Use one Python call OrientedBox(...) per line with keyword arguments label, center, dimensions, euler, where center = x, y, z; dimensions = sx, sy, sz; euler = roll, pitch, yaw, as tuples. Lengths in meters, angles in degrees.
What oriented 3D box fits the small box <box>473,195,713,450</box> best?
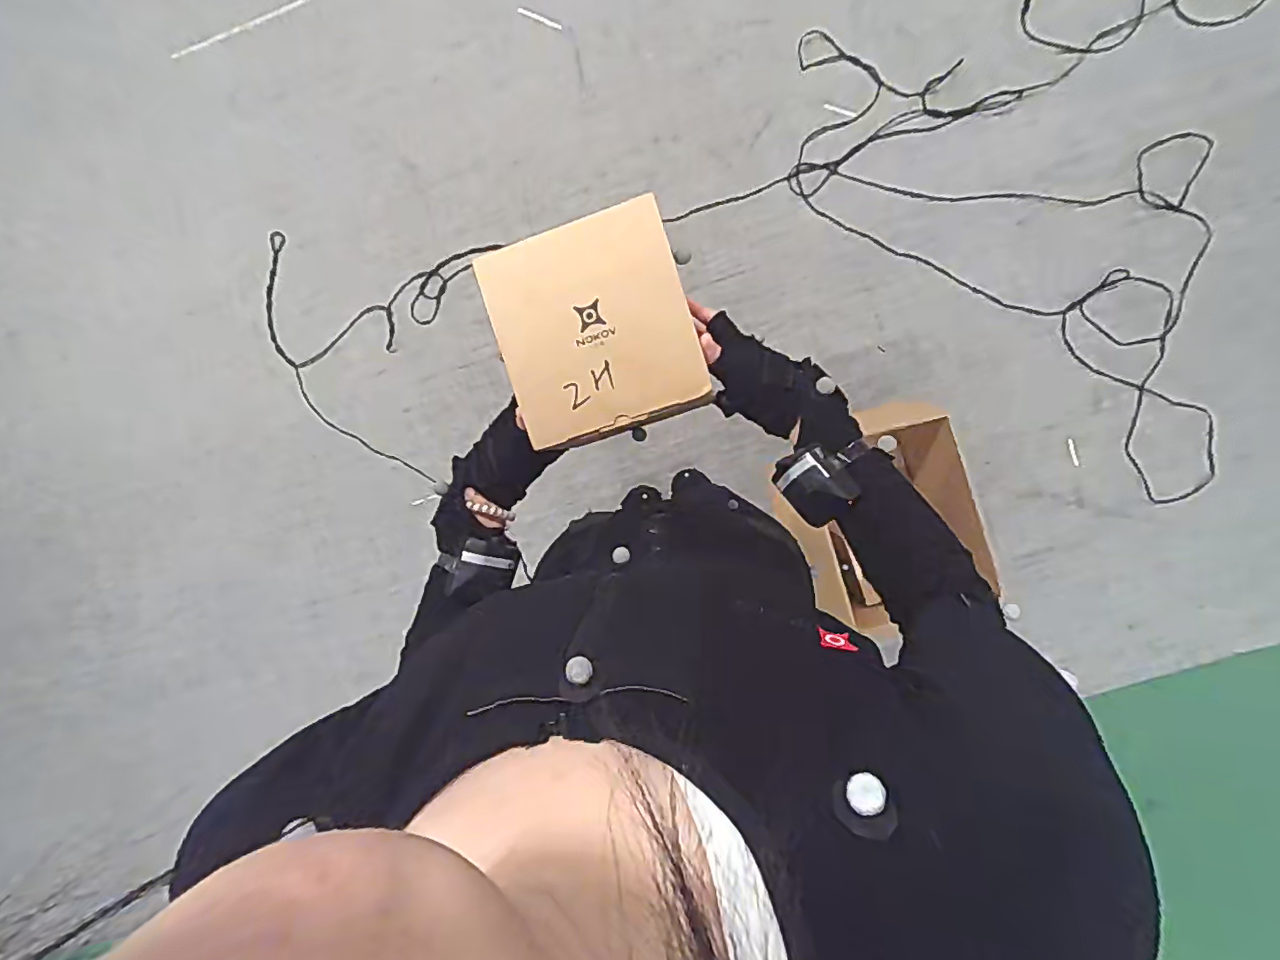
OrientedBox(label="small box", center=(-0.034, -0.134, 0.530), dimensions=(0.168, 0.176, 0.179), euler=(-17, 93, 7))
